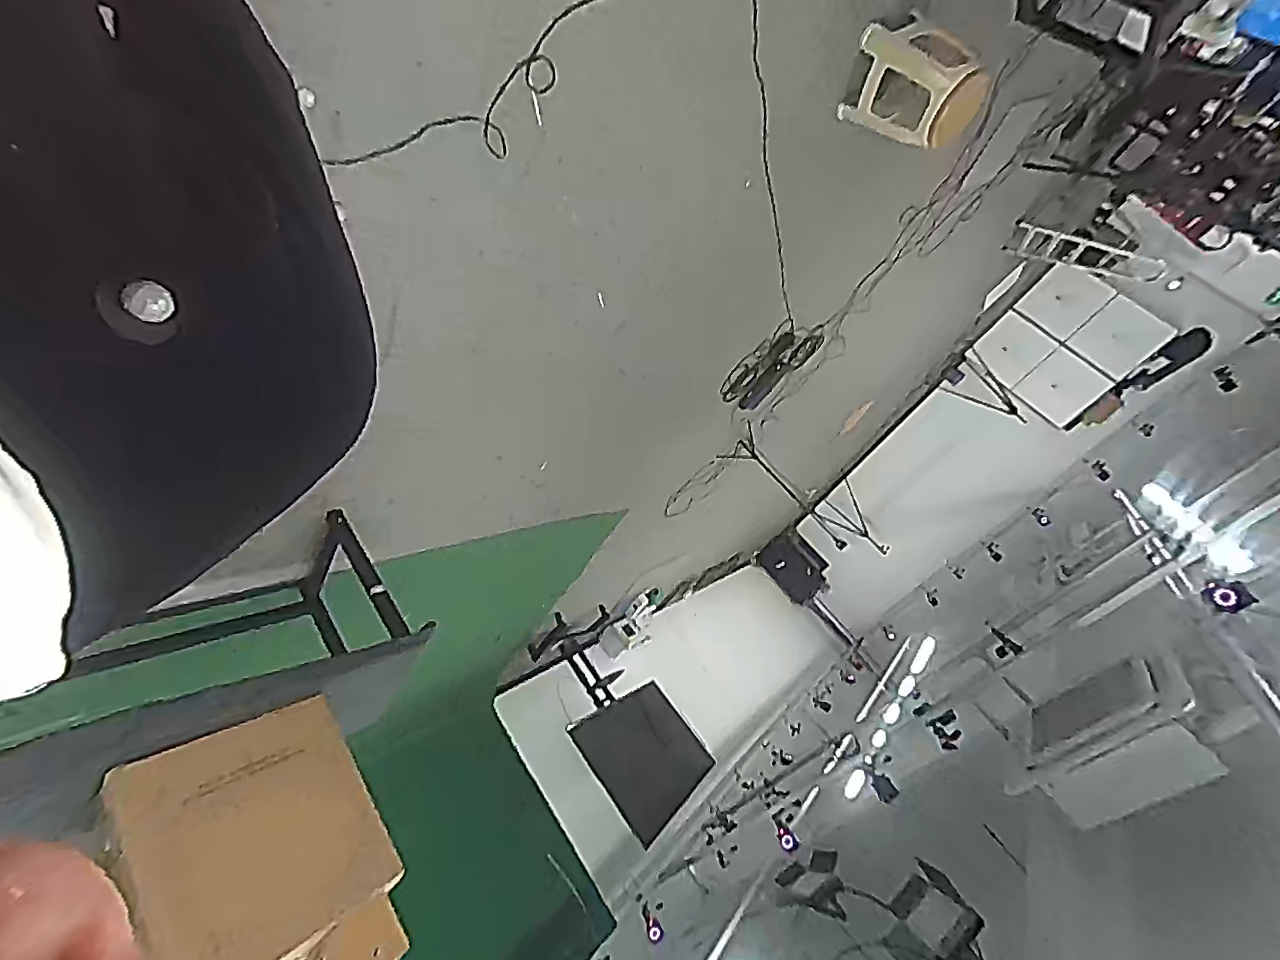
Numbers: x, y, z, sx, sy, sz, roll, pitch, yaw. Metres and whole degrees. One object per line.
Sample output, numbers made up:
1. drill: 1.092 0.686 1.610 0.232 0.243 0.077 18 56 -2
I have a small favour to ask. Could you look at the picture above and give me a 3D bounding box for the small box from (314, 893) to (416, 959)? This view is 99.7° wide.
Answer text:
1. small box: -0.777 1.326 1.524 0.179 0.176 0.168 -5 135 -56
